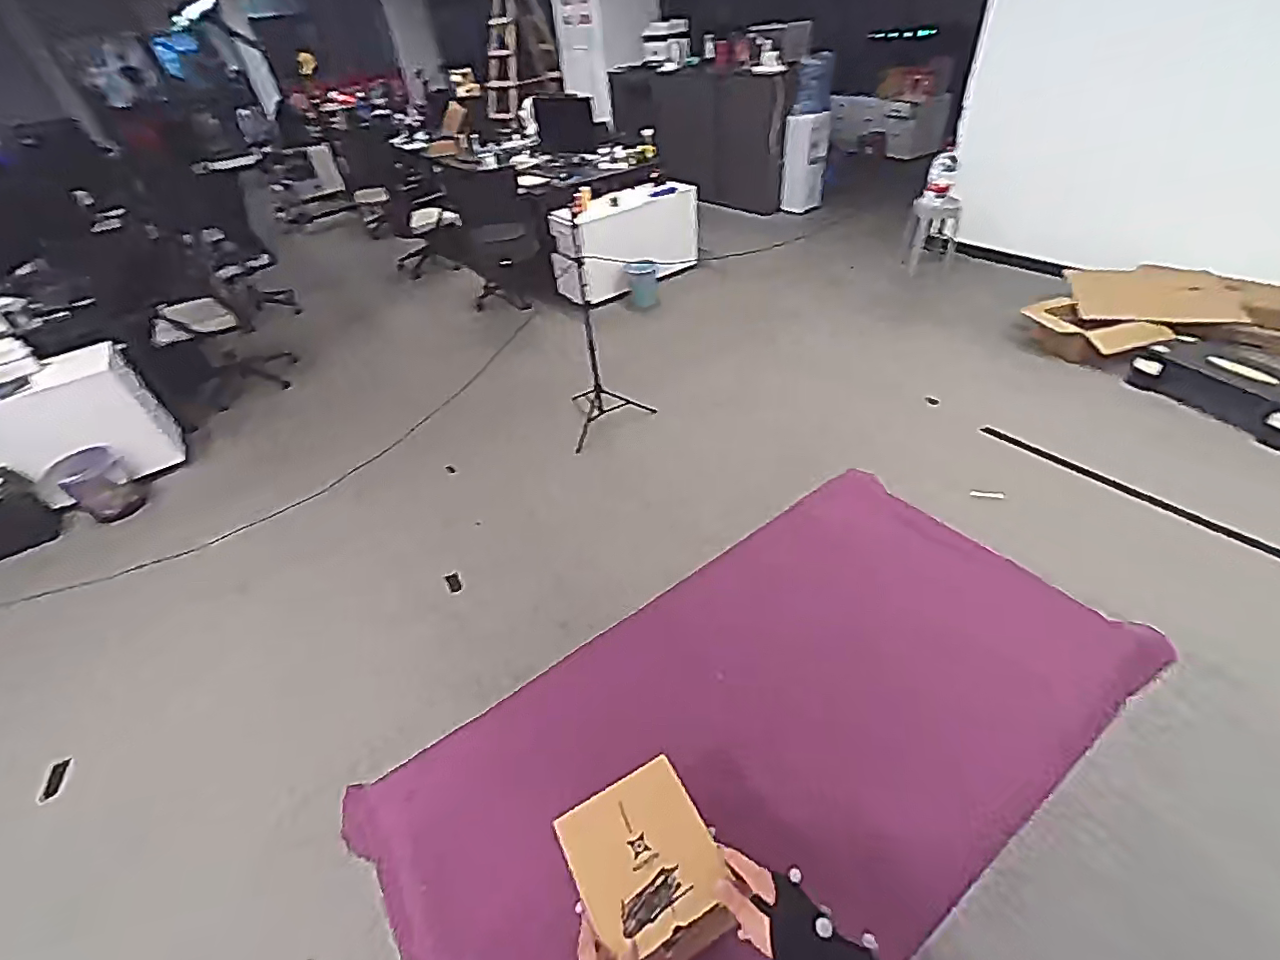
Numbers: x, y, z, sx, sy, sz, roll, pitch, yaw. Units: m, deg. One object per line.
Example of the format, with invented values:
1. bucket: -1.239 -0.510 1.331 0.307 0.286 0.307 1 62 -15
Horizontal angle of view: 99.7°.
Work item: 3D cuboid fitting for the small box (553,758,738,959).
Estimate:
1. small box: 0.010 0.506 0.691 0.168 0.176 0.179 -24 42 -18
